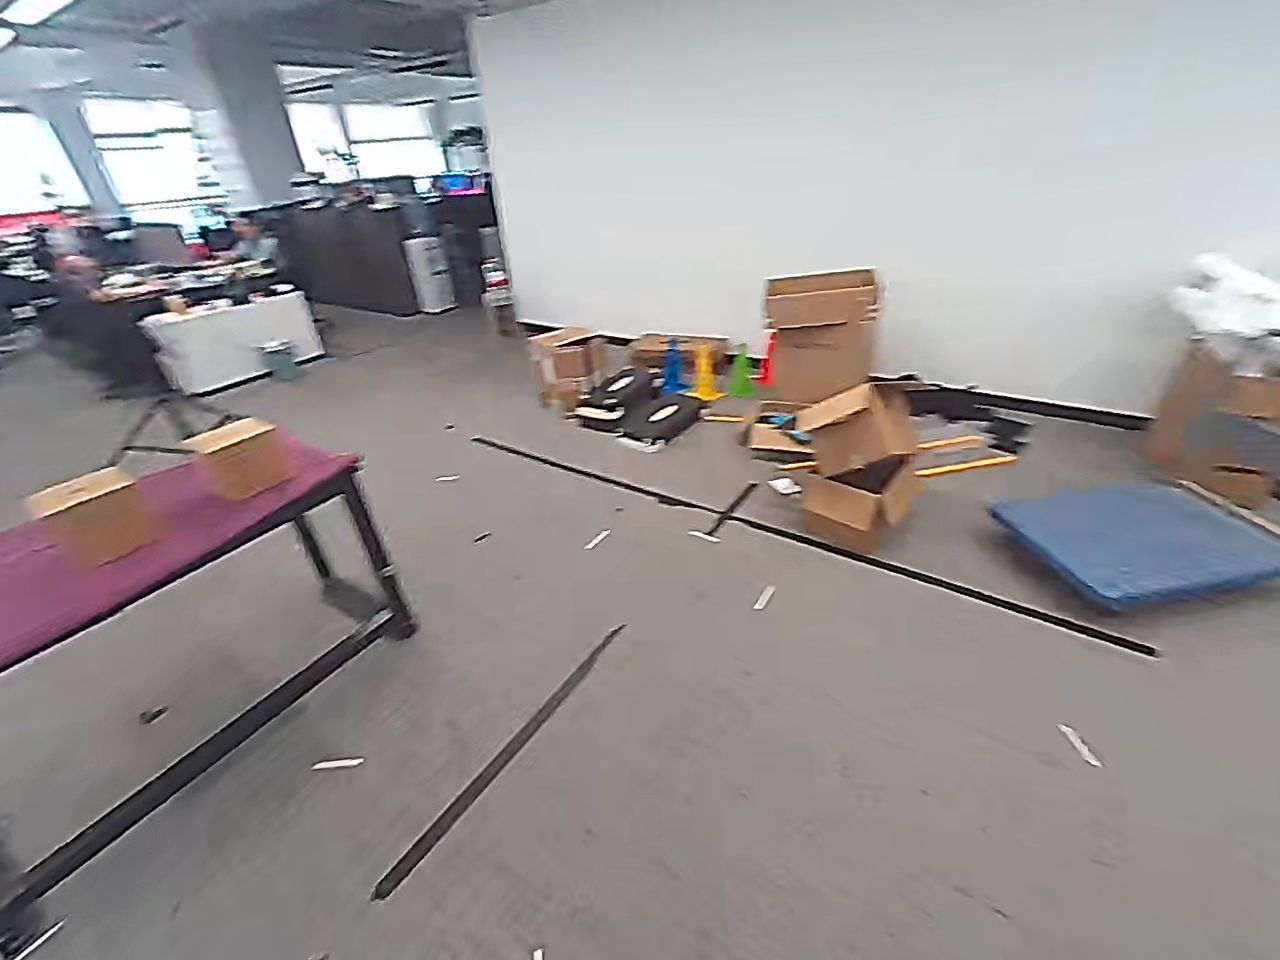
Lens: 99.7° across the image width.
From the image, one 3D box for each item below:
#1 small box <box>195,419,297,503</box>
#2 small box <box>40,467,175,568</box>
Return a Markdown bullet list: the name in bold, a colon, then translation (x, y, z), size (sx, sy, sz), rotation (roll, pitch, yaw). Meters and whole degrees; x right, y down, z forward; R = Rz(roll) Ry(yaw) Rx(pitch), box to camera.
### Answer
- **small box**: translation (-1.158, -0.059, 1.606), size (0.168, 0.176, 0.179), rotation (18, 39, 33)
- **small box**: translation (-1.349, 0.095, 1.377), size (0.168, 0.176, 0.179), rotation (19, 38, 32)
